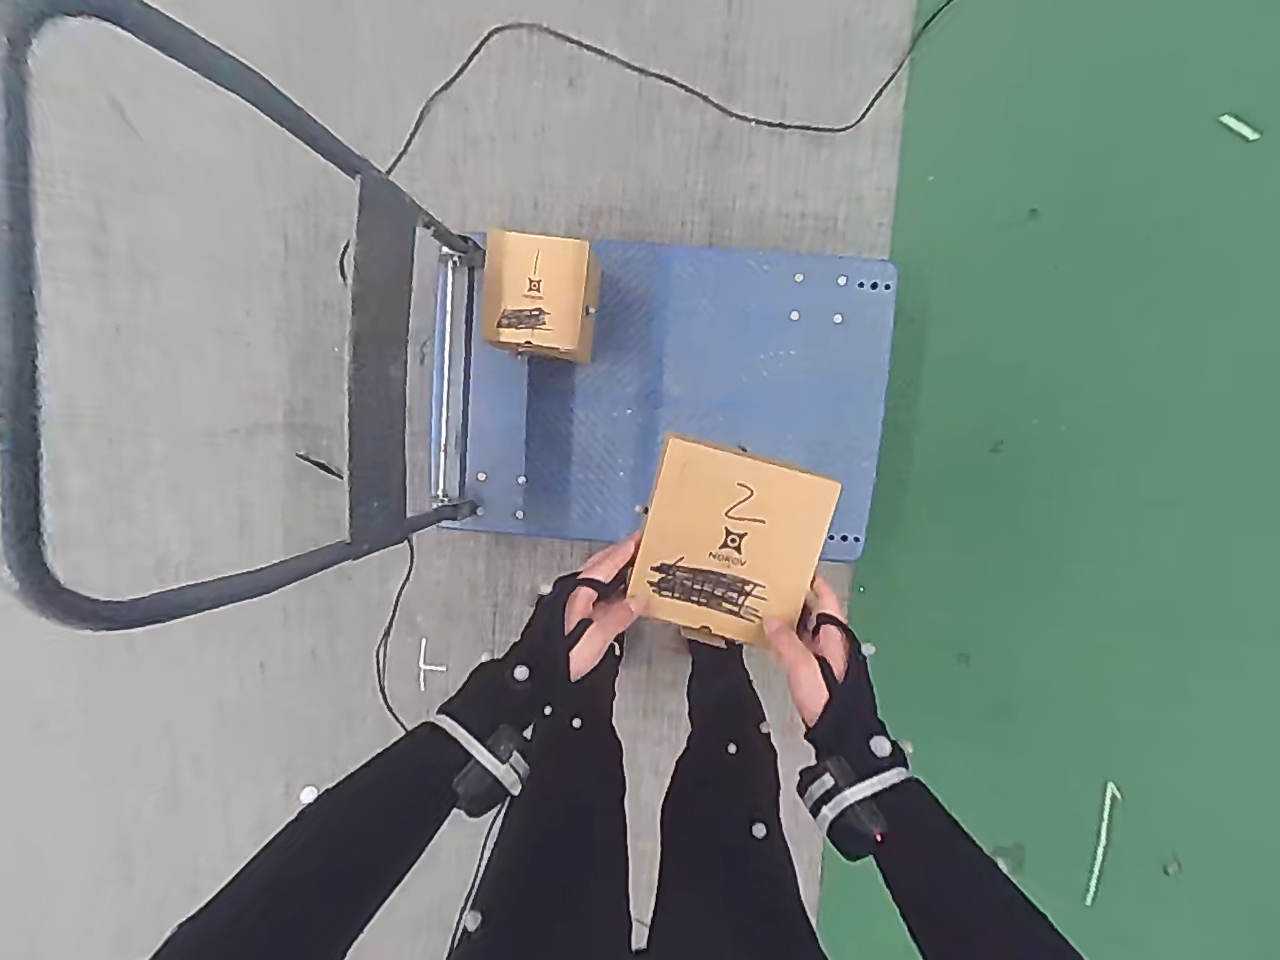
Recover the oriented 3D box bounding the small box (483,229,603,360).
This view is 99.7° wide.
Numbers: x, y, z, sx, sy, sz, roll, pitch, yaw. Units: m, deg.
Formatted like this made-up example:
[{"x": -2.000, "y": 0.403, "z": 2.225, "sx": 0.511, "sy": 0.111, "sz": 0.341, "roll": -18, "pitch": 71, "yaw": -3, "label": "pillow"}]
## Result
[{"x": -0.160, "y": -0.310, "z": 0.940, "sx": 0.168, "sy": 0.176, "sz": 0.179, "roll": 7, "pitch": 96, "yaw": 1, "label": "small box"}]
